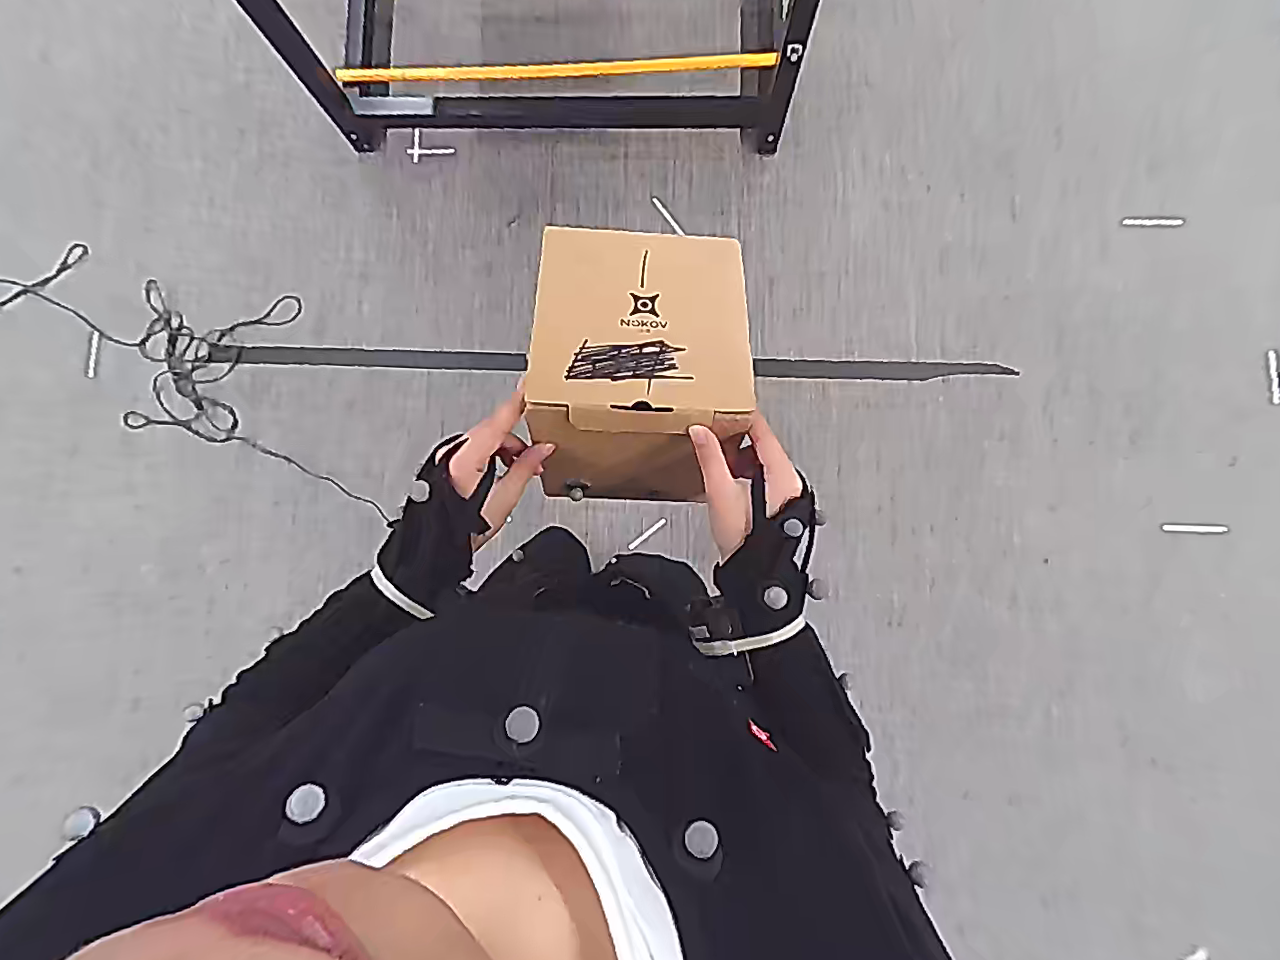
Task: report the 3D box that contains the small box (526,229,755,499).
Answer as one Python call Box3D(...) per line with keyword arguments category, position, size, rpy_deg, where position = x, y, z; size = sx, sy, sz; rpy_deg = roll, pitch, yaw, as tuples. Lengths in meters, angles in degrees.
Box3D(category="small box", position=(-0.001, -0.092, 0.487), size=(0.168, 0.176, 0.179), rpy_deg=(2, 65, -3))
